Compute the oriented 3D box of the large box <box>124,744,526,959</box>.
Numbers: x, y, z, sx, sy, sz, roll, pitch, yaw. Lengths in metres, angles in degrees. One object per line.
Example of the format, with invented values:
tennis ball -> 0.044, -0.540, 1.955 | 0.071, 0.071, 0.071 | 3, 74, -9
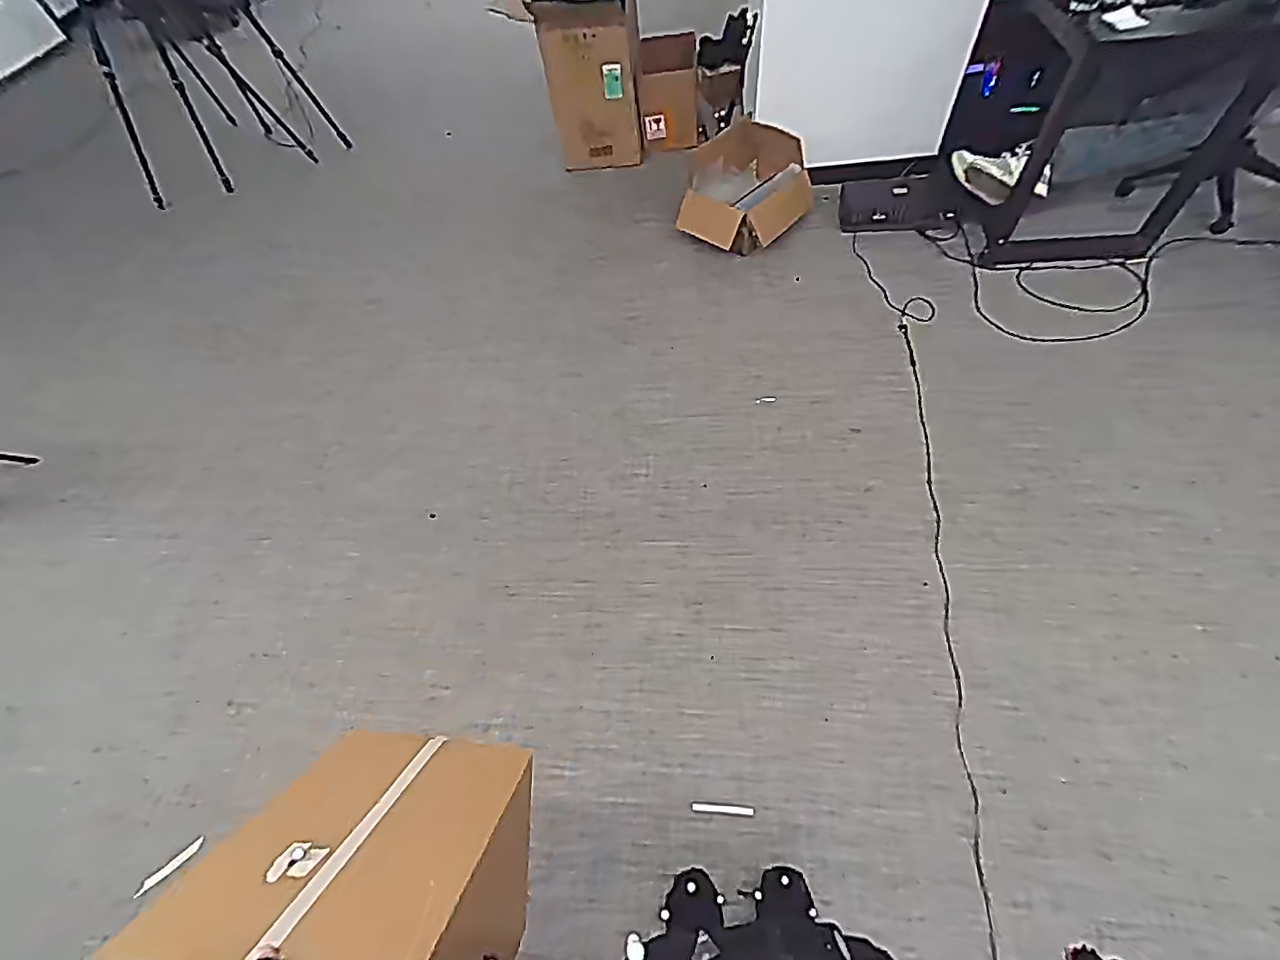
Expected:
large box -> -0.359, 0.621, 0.714 | 0.320, 0.408, 0.320 | 2, 96, 6
